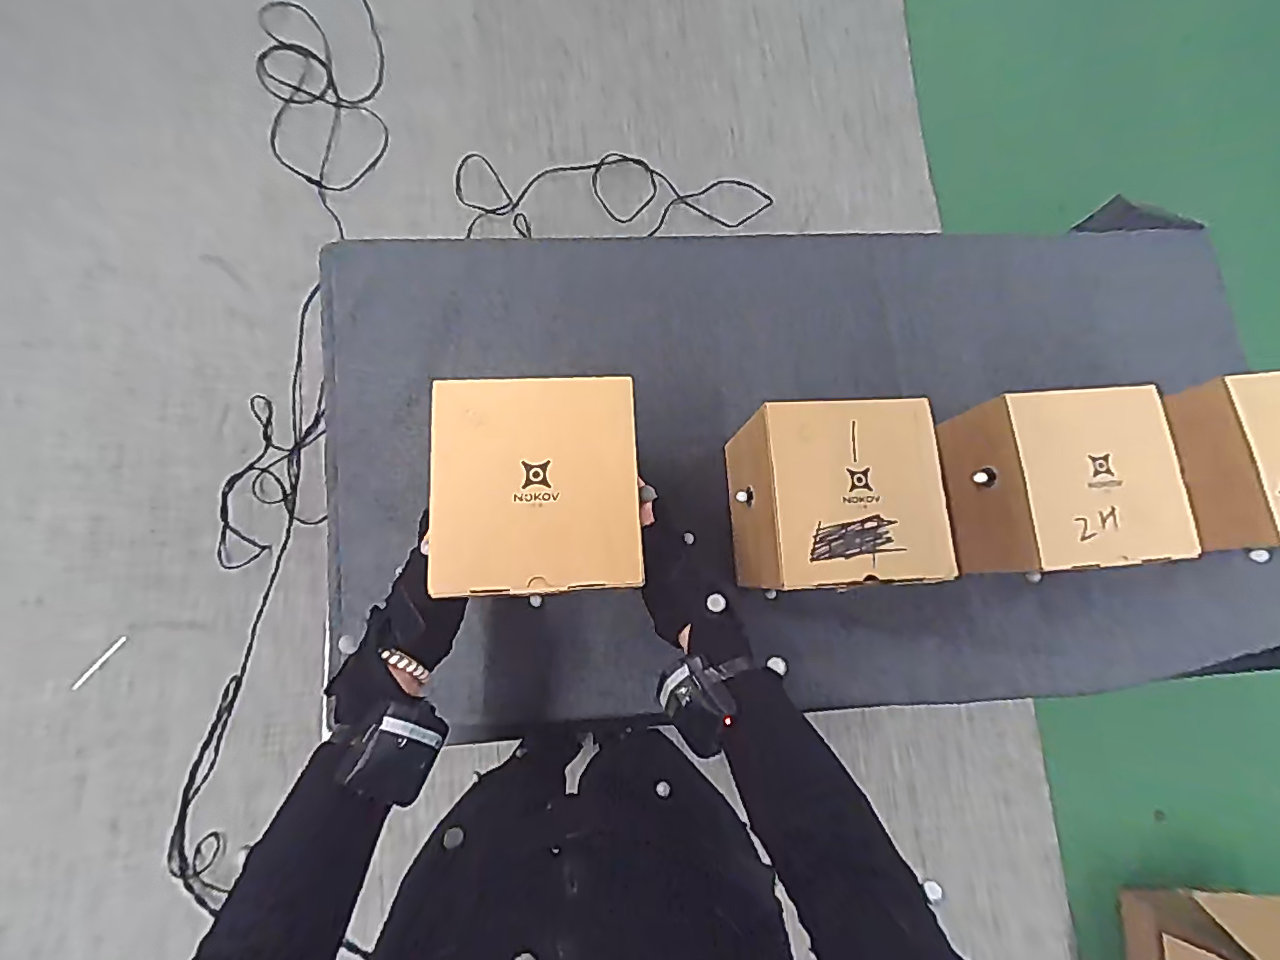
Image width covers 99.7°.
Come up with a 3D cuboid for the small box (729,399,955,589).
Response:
[{"bbox_3d":[0.198,0.023,0.580,0.168,0.176,0.179,-2,79,-5],"label":"small box"}]

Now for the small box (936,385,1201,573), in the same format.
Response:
[{"bbox_3d":[0.439,0.009,0.600,0.168,0.176,0.179,-4,79,-5],"label":"small box"}]

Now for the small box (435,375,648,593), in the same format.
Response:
[{"bbox_3d":[-0.086,0.015,0.511,0.168,0.176,0.179,-2,79,-6],"label":"small box"}]
